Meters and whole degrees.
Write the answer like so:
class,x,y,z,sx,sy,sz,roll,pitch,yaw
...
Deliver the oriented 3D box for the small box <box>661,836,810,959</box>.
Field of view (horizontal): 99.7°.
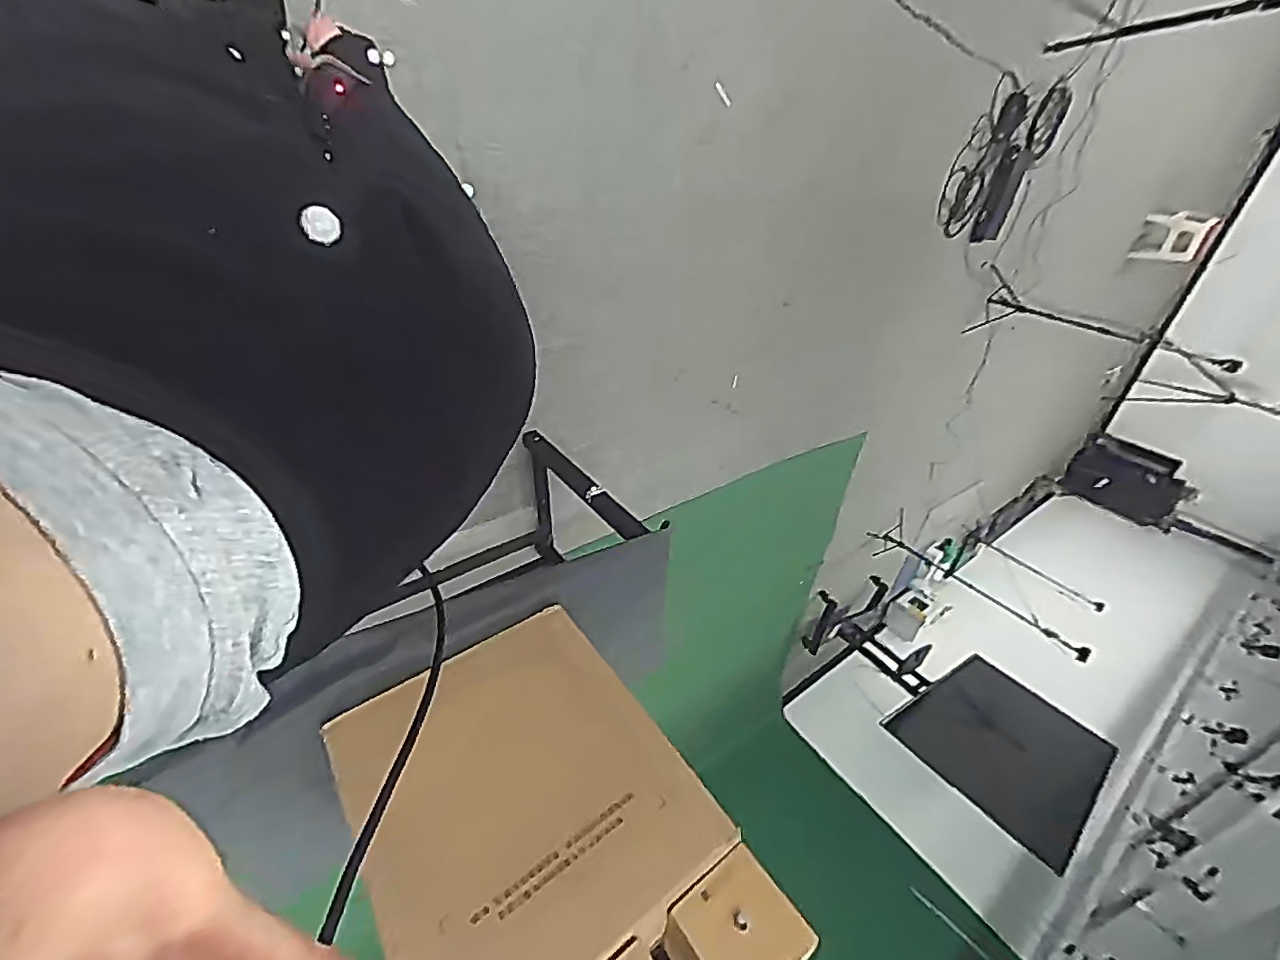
class,x,y,z,sx,sy,sz,roll,pitch,yaw
small box,0.151,0.741,0.900,0.168,0.176,0.179,-24,133,-32
